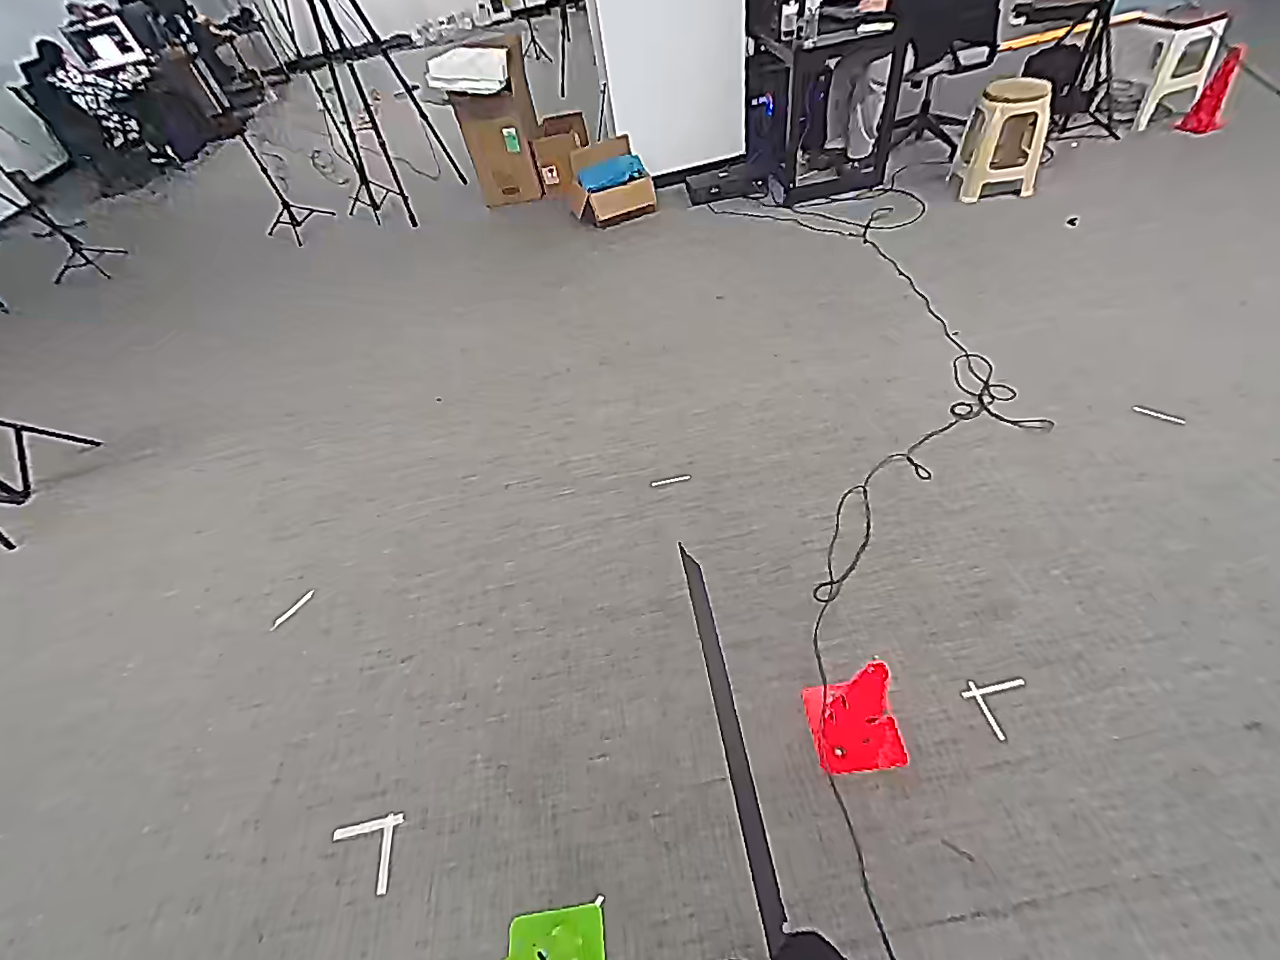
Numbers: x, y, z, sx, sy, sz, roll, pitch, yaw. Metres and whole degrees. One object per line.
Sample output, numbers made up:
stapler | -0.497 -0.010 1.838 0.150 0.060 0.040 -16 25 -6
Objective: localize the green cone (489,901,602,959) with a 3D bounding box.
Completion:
green cone | -0.201 0.867 0.952 0.202 0.368 0.200 -12 48 2

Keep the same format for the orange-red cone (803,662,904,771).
orange-red cone | 0.481 0.474 1.162 0.199 0.360 0.198 -7 50 4
